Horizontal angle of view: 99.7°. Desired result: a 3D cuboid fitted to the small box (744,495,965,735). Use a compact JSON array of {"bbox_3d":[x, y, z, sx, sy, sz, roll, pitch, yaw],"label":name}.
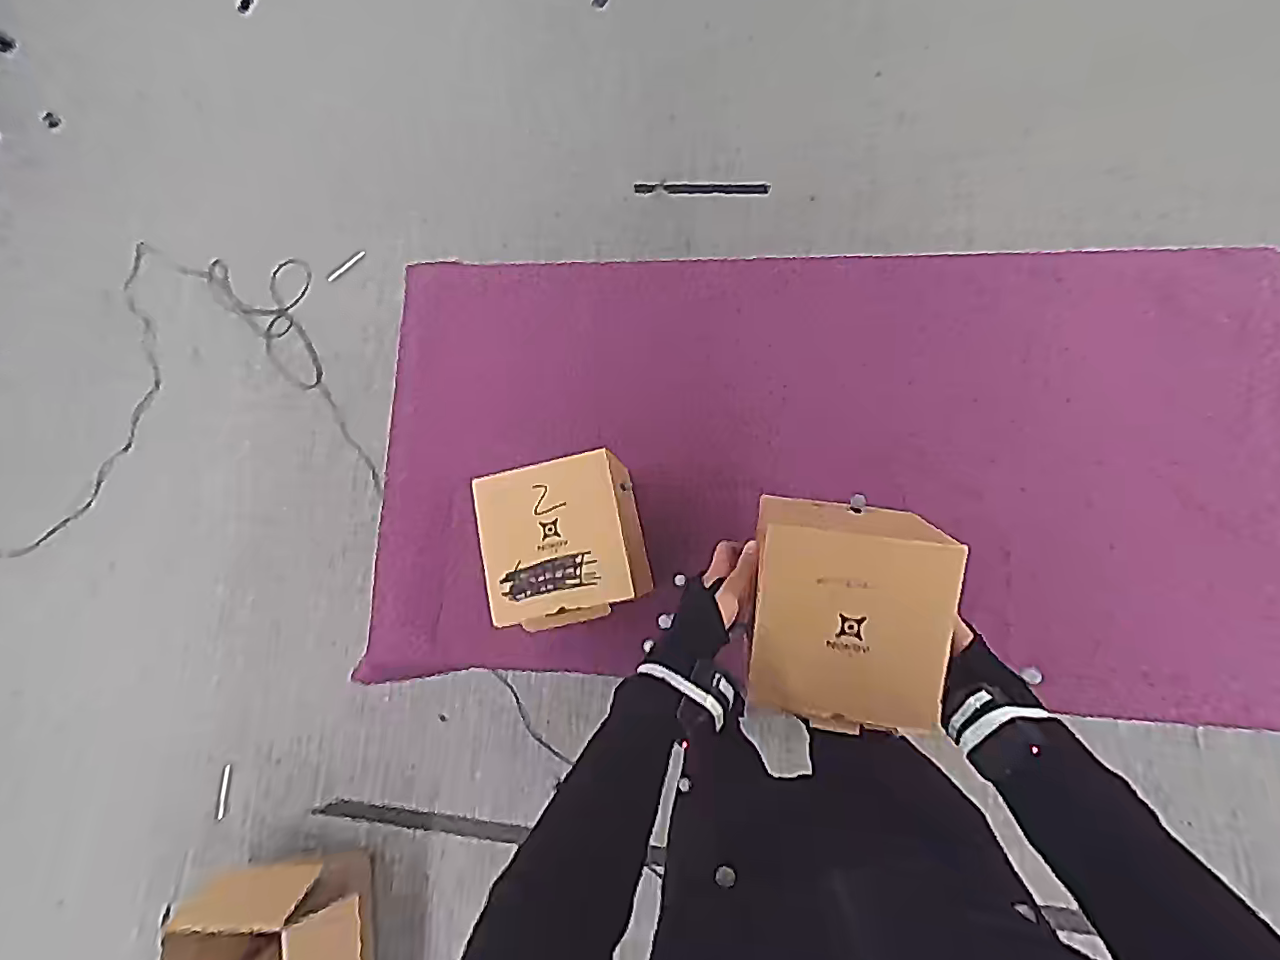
[{"bbox_3d":[0.201,0.121,0.555,0.168,0.176,0.179,6,97,10],"label":"small box"}]
